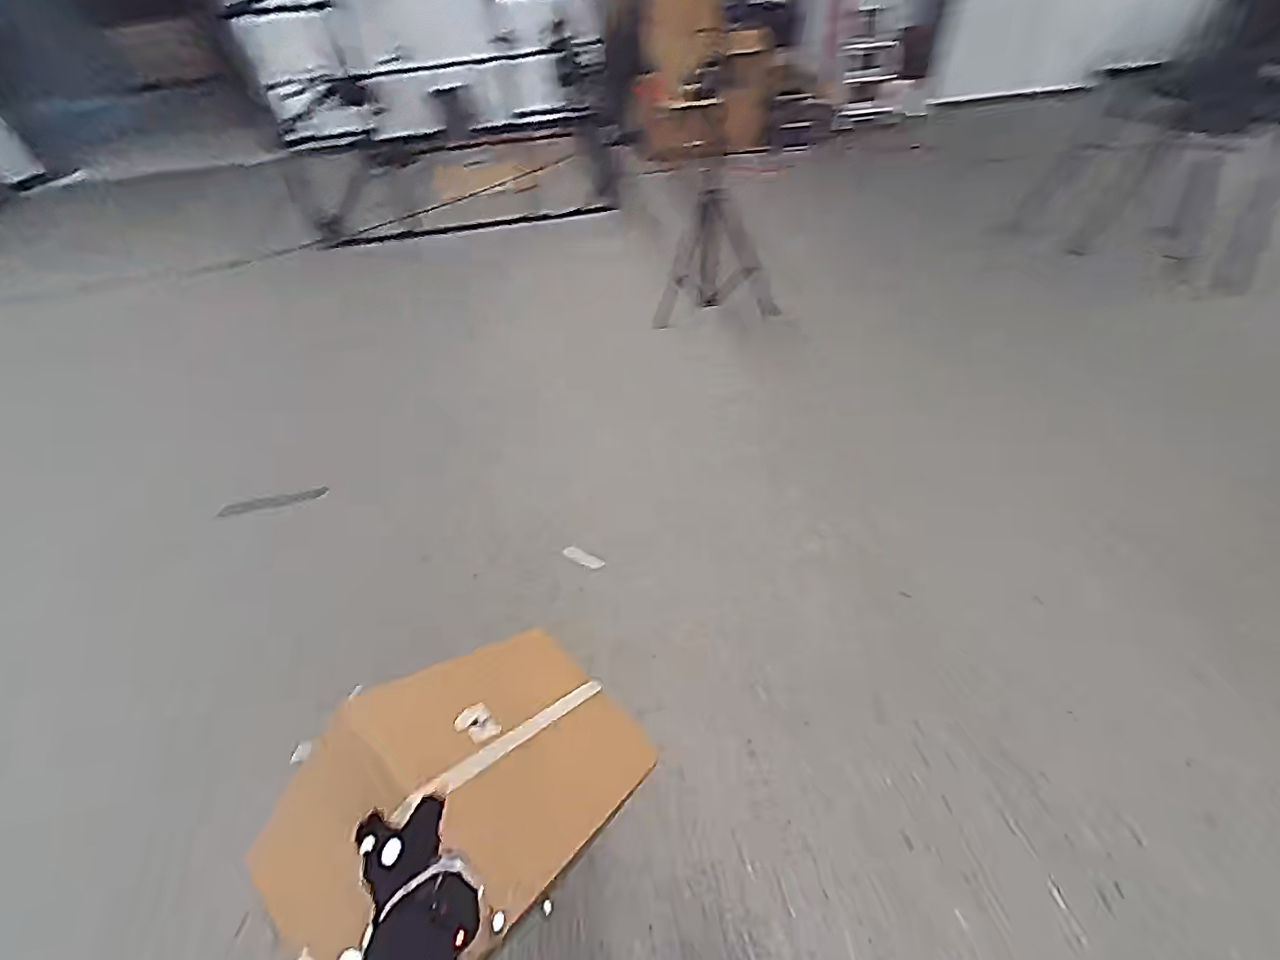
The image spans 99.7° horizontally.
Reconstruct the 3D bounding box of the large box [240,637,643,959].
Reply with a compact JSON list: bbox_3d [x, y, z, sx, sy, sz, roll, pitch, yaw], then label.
[{"bbox_3d":[-0.262,0.499,0.806,0.320,0.320,0.408,38,14,20],"label":"large box"}]
